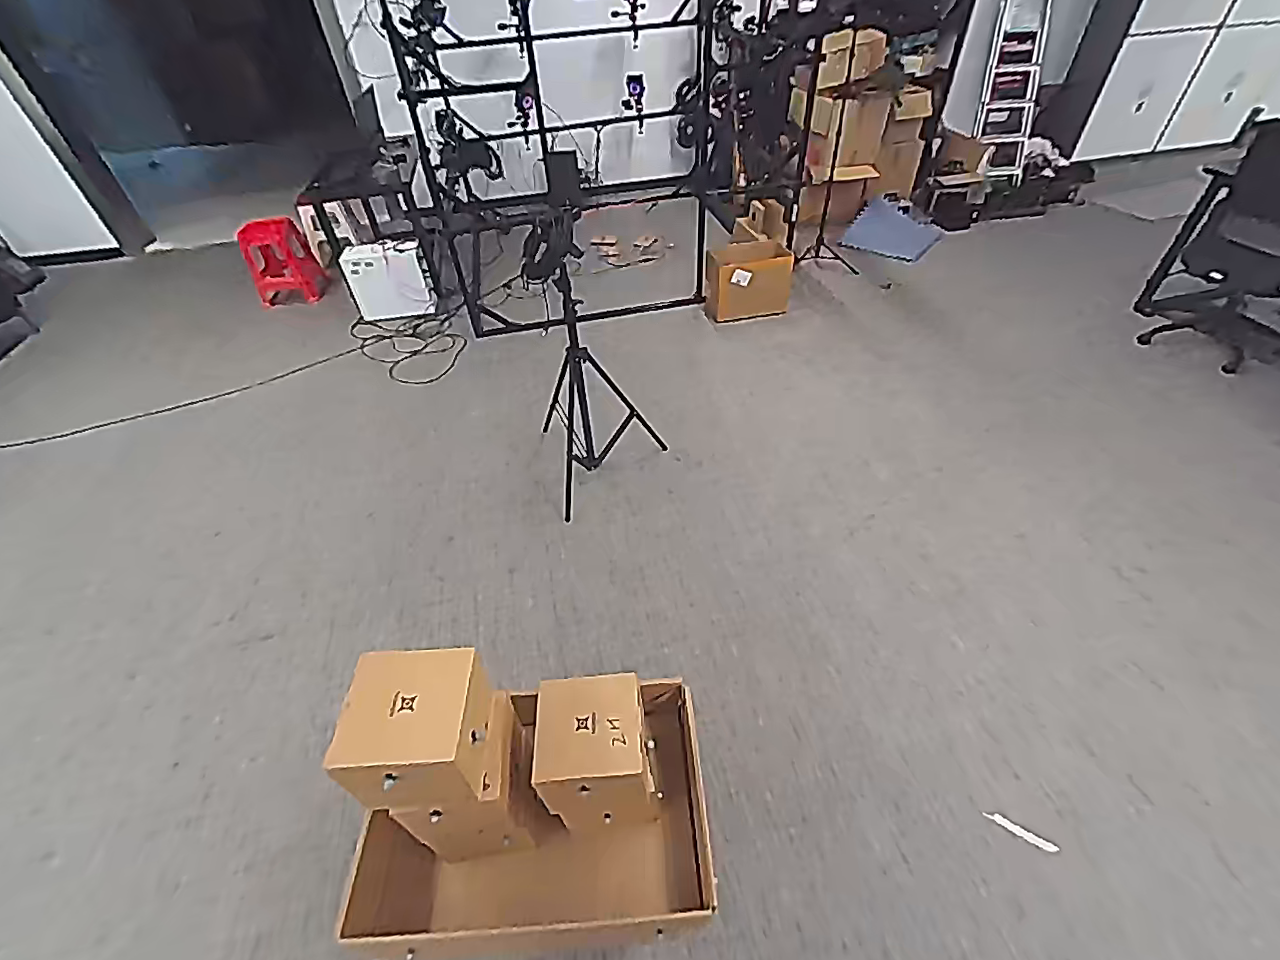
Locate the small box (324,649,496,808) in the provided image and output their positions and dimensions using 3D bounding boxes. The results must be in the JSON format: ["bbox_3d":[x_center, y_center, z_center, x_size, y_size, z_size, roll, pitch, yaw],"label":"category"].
[{"bbox_3d":[-0.325,0.373,0.811,0.179,0.176,0.168,-3,43,-1],"label":"small box"}]
